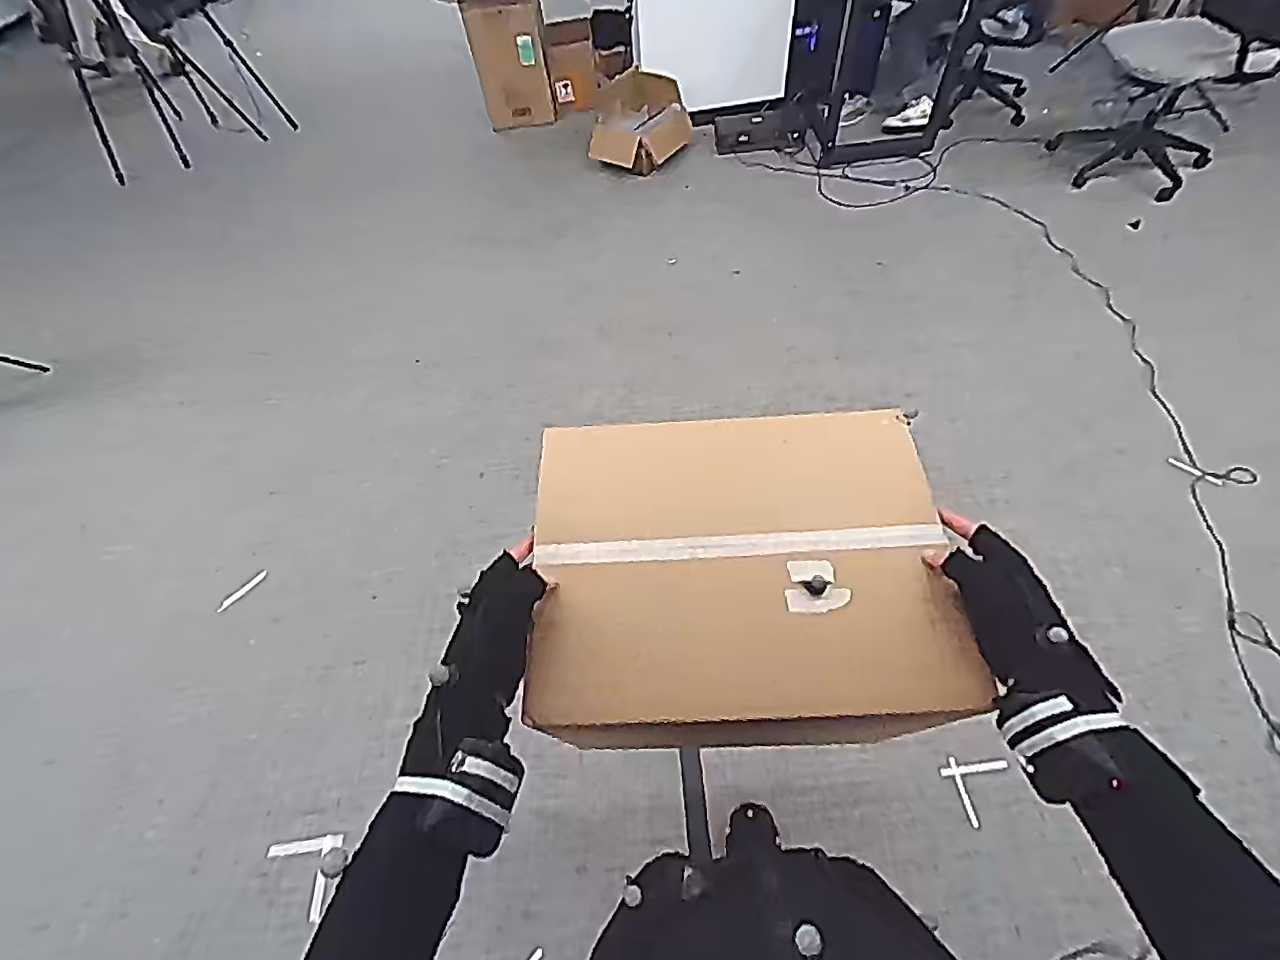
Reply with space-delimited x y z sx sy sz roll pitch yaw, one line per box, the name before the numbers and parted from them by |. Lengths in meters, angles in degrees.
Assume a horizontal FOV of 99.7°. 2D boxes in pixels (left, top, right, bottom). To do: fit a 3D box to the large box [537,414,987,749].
large box | 0.105 0.143 0.673 0.408 0.320 0.320 -3 60 1
